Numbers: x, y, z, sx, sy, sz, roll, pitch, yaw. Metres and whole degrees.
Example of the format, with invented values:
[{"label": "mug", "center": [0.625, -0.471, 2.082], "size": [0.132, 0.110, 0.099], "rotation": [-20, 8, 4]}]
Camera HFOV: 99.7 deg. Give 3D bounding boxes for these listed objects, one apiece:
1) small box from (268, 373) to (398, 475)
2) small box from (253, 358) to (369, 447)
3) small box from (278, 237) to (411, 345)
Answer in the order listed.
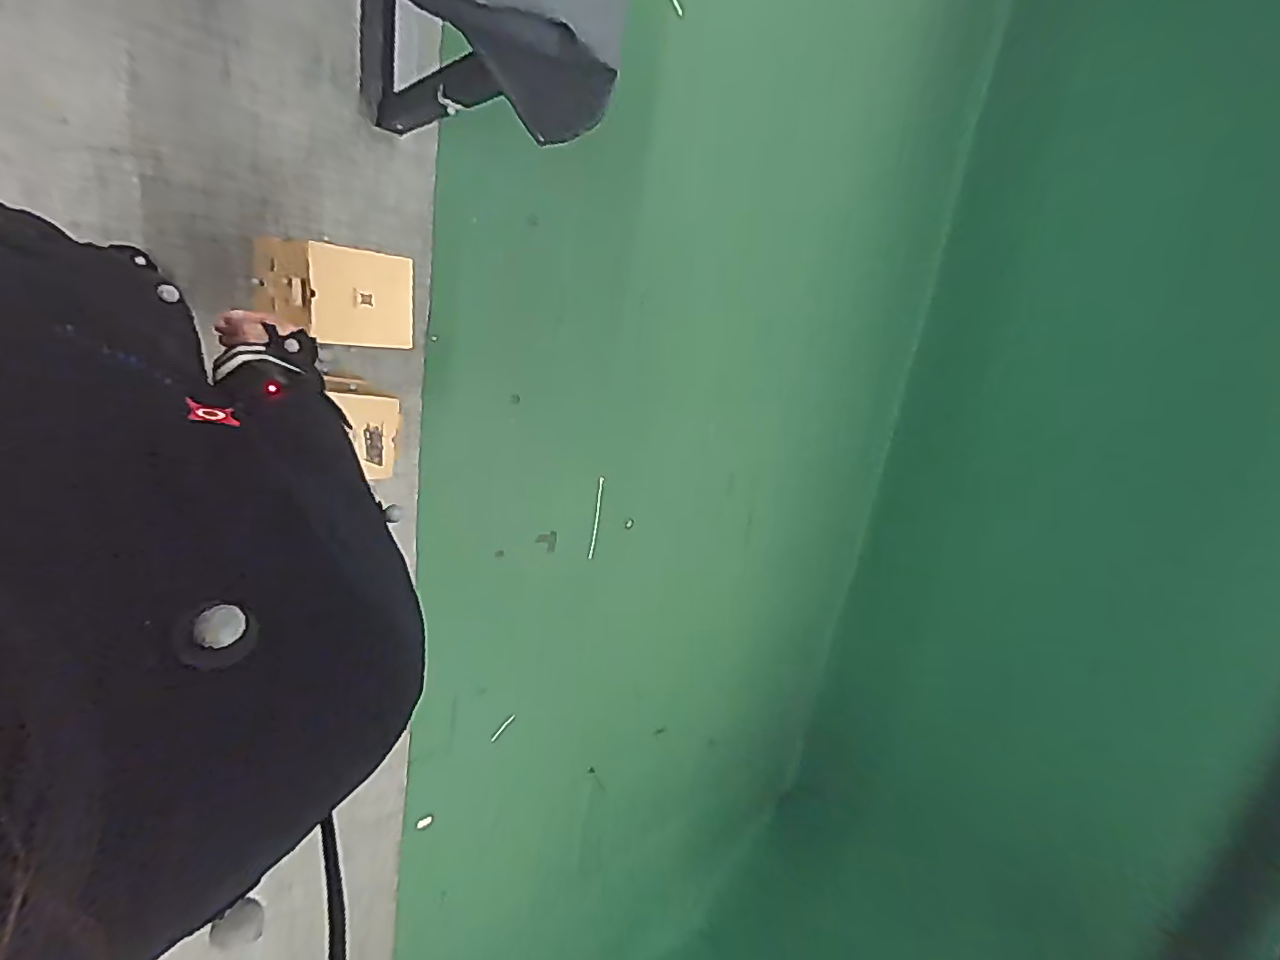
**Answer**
[{"label": "small box", "center": [-0.601, -0.110, 1.057], "size": [0.179, 0.176, 0.168], "rotation": [0, 105, -45]}, {"label": "small box", "center": [-0.712, -0.164, 1.167], "size": [0.179, 0.176, 0.168], "rotation": [0, 105, -44]}, {"label": "small box", "center": [-0.549, -0.350, 1.008], "size": [0.179, 0.176, 0.168], "rotation": [-9, 113, -44]}]
